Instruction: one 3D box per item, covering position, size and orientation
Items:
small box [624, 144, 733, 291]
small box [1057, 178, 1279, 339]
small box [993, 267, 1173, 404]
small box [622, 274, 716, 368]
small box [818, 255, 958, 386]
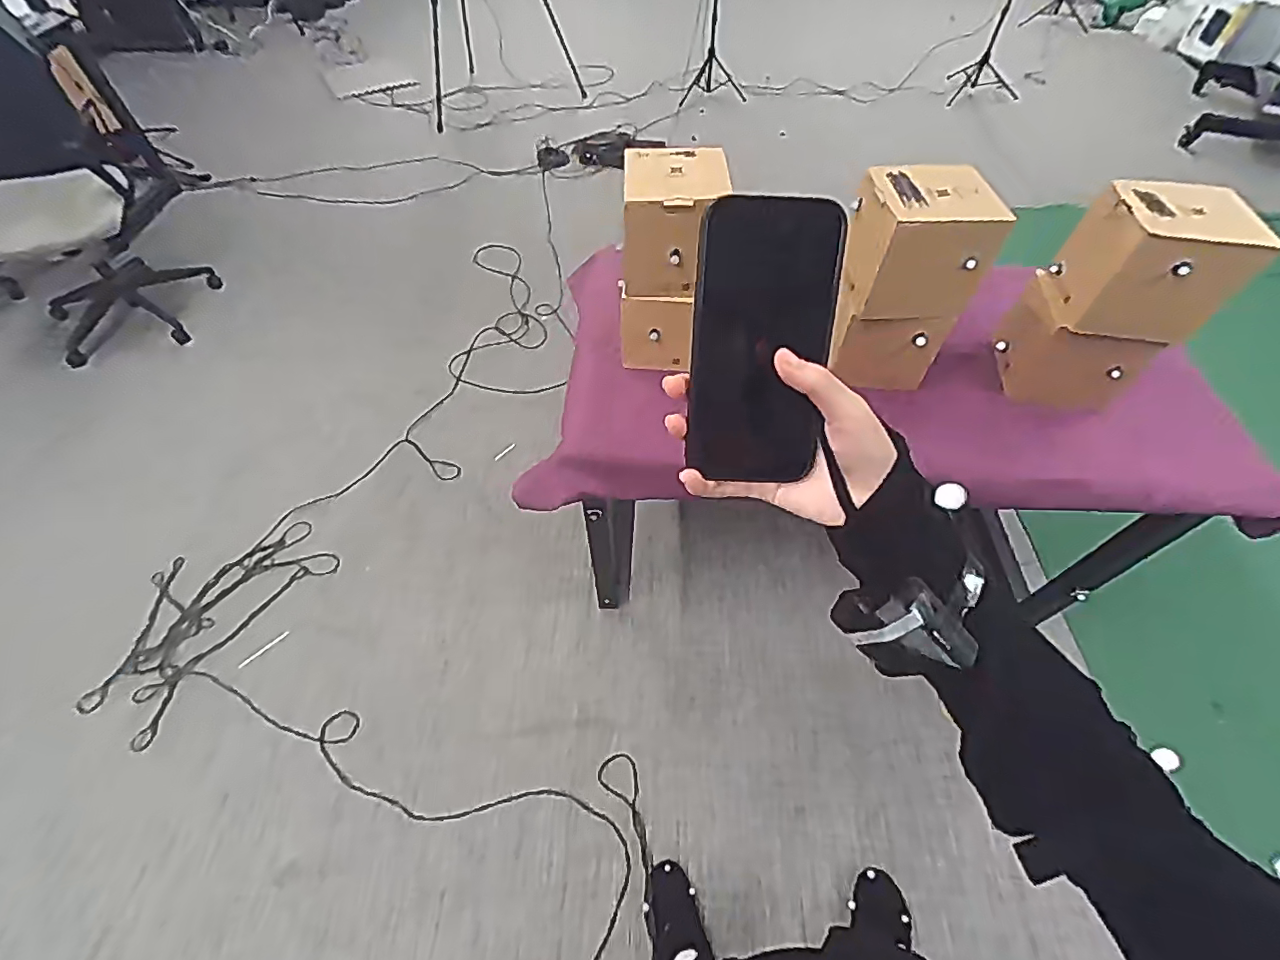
[{"bbox_3d":[0.060,-0.437,0.912,0.168,0.176,0.179,1,55,0],"label":"small box"},{"bbox_3d":[0.792,-0.339,0.839,0.179,0.176,0.168,9,55,6],"label":"small box"},{"bbox_3d":[0.785,-0.257,0.981,0.179,0.176,0.168,9,55,7],"label":"small box"},{"bbox_3d":[0.060,-0.335,1.041,0.168,0.176,0.179,4,55,4],"label":"small box"},{"bbox_3d":[0.447,-0.293,1.006,0.179,0.176,0.168,4,55,3],"label":"small box"}]
